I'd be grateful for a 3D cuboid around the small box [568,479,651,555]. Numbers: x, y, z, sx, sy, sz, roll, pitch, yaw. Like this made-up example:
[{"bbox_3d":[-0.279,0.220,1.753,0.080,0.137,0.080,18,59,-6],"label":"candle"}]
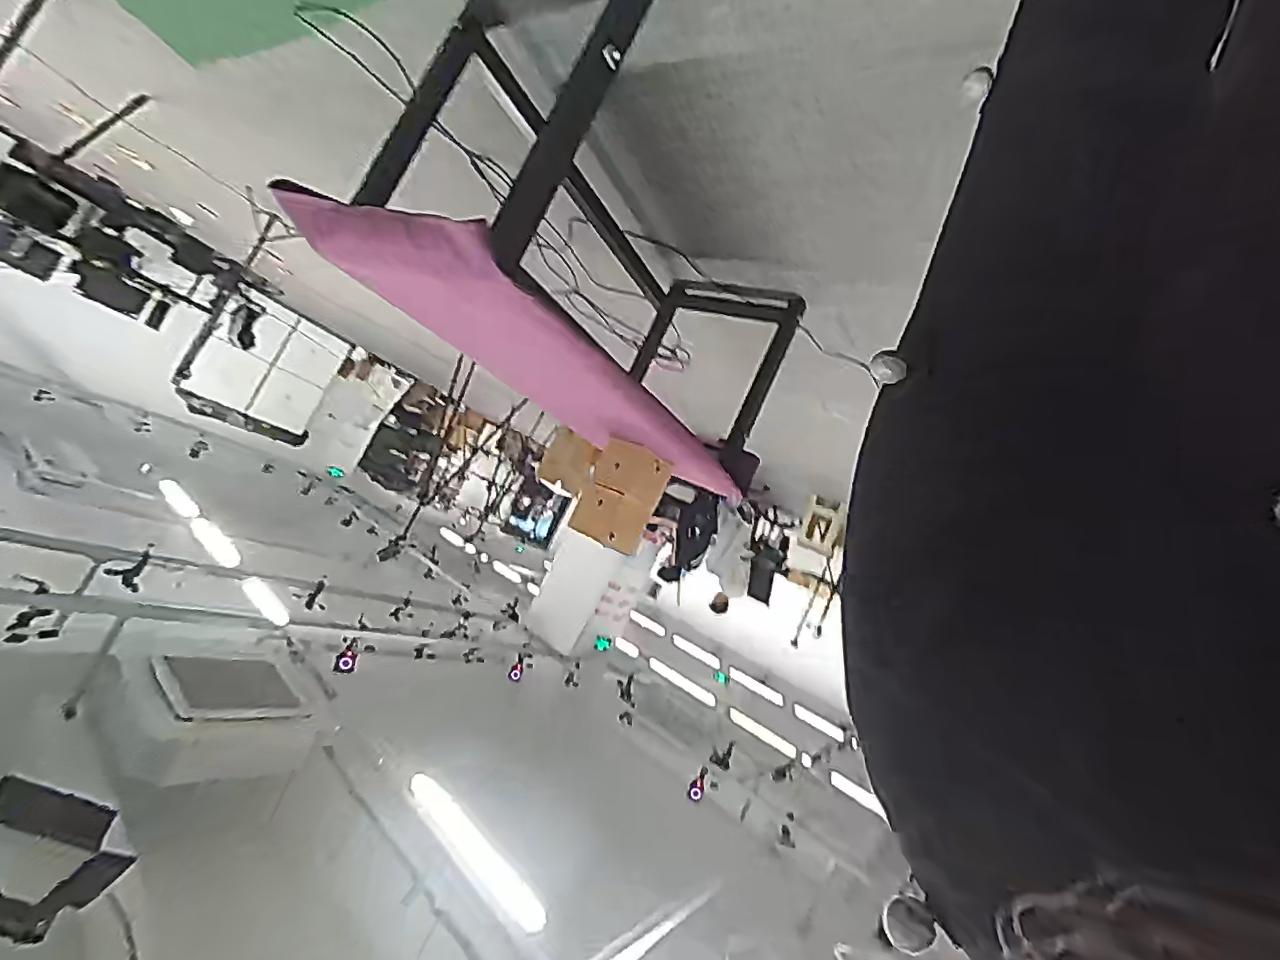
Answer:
[{"bbox_3d":[-0.094,0.118,1.755,0.168,0.176,0.179,20,171,42],"label":"small box"}]
